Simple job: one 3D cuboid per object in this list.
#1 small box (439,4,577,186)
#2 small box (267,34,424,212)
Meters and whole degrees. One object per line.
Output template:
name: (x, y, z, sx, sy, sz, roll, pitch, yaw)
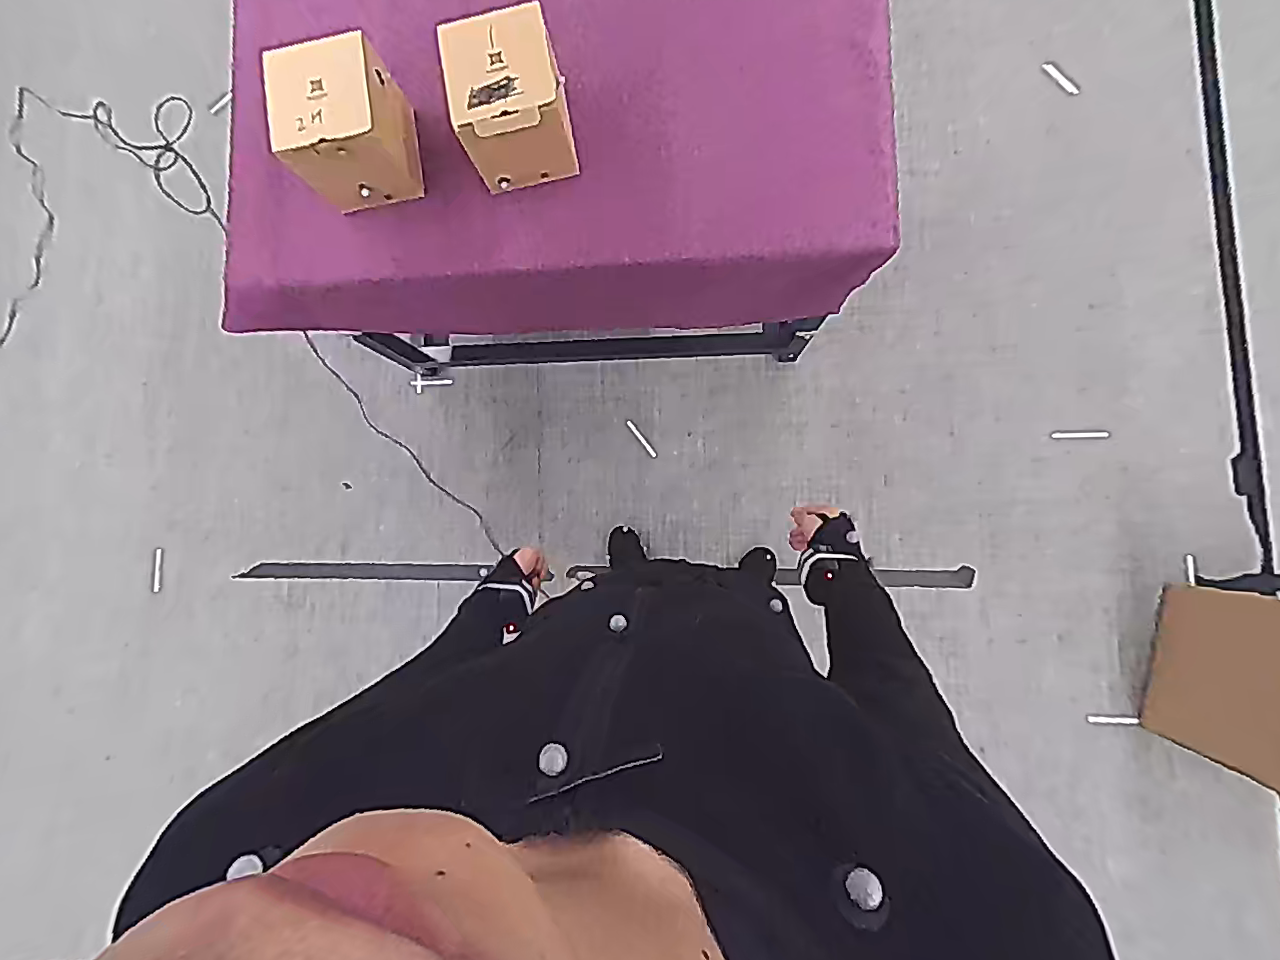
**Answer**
small box: (-0.210, -0.621, 0.901, 0.168, 0.176, 0.179, -11, 84, 4)
small box: (-0.490, -0.595, 0.921, 0.168, 0.176, 0.179, -9, 85, 4)
